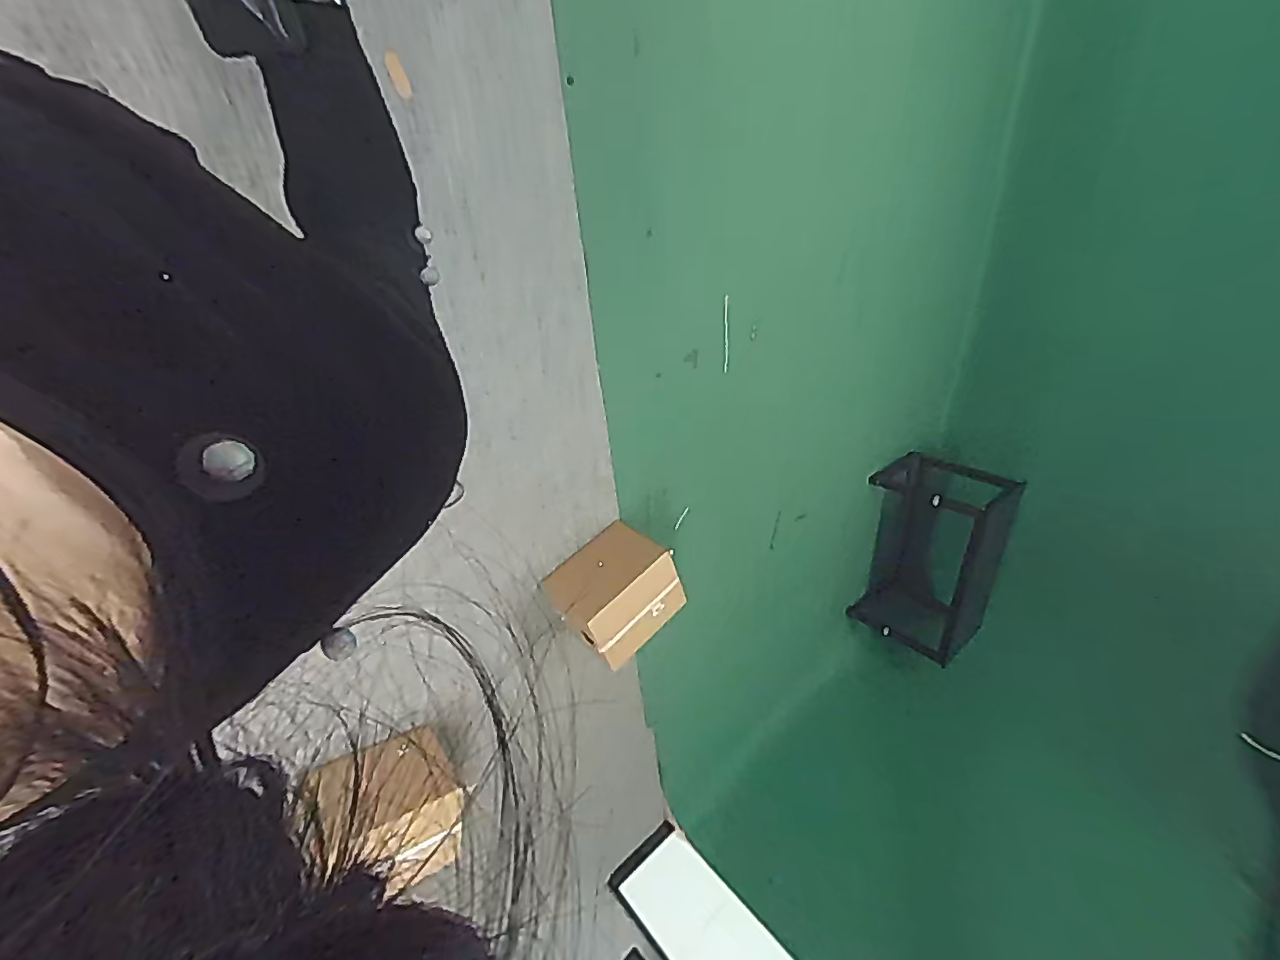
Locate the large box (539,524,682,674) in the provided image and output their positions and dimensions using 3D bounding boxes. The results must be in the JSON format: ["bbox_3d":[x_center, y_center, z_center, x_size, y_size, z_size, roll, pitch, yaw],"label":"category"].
[{"bbox_3d":[-0.109,0.445,2.083,0.408,0.320,0.320,-40,132,-25],"label":"large box"}]
